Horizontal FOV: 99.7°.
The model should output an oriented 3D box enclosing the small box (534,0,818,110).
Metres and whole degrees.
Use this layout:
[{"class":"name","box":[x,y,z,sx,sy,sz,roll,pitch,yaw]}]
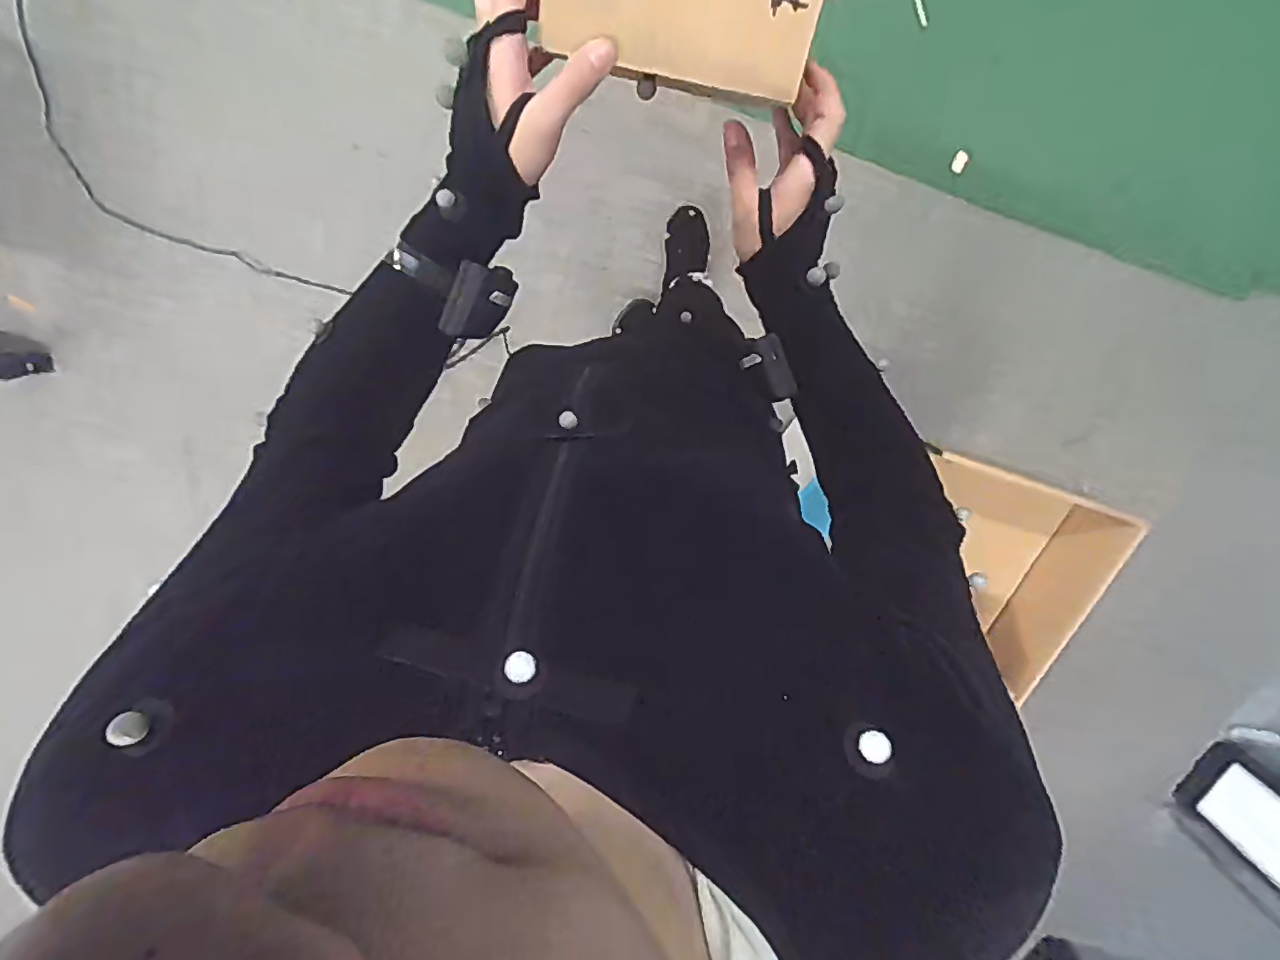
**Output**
[{"class":"small box","box":[0.035,-0.374,0.381,0.179,0.176,0.168,10,123,-2]}]
